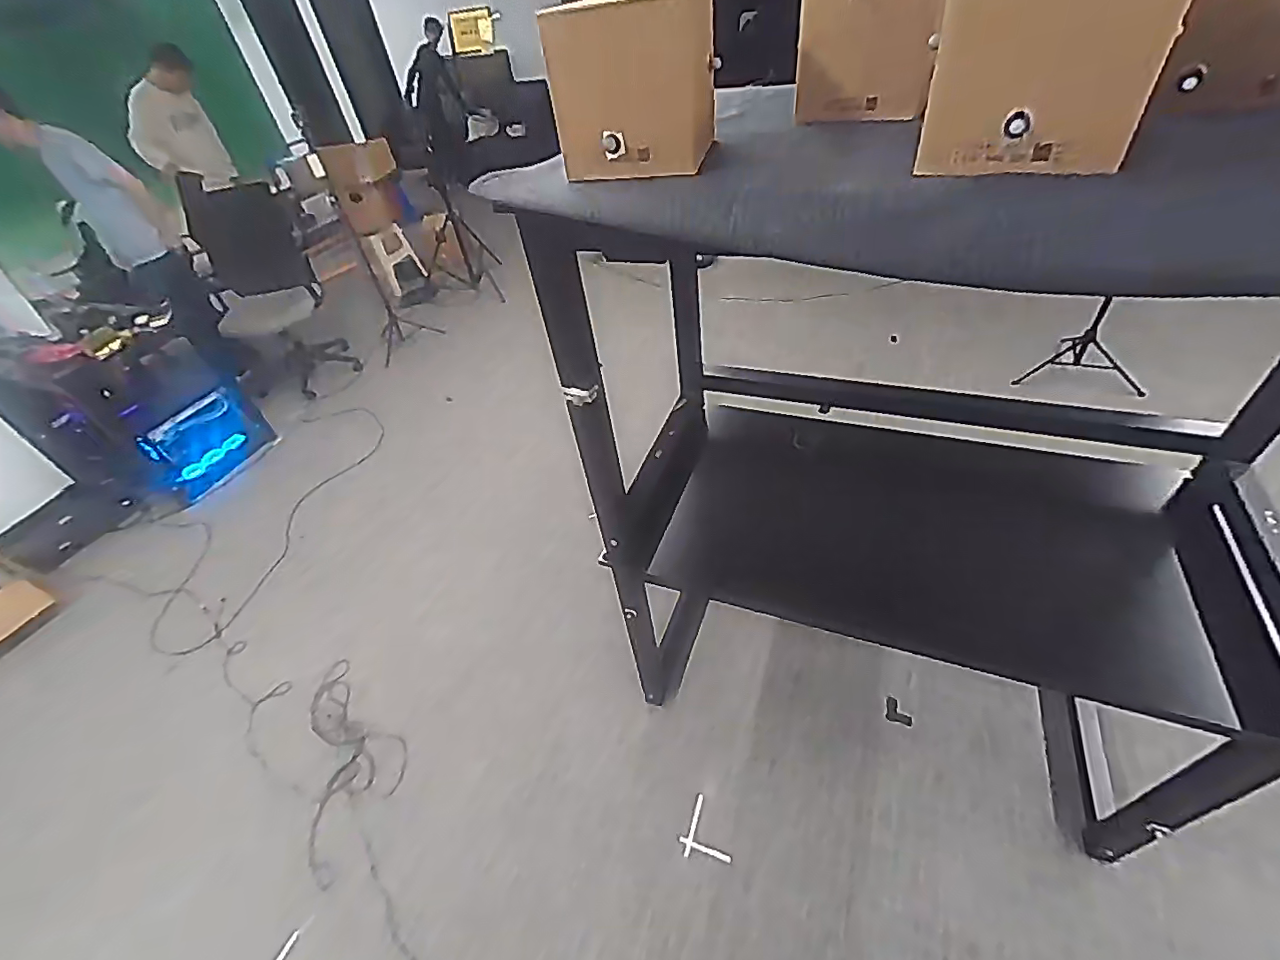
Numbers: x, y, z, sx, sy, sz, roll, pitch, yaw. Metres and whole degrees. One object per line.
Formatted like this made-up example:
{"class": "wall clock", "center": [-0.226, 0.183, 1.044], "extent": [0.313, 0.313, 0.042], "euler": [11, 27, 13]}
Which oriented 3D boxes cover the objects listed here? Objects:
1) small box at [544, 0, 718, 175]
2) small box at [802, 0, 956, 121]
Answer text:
{"class": "small box", "center": [0.003, -0.491, 0.667], "extent": [0.168, 0.176, 0.179], "euler": [4, 44, 15]}
{"class": "small box", "center": [0.327, -0.609, 0.740], "extent": [0.168, 0.176, 0.179], "euler": [14, 48, 24]}
